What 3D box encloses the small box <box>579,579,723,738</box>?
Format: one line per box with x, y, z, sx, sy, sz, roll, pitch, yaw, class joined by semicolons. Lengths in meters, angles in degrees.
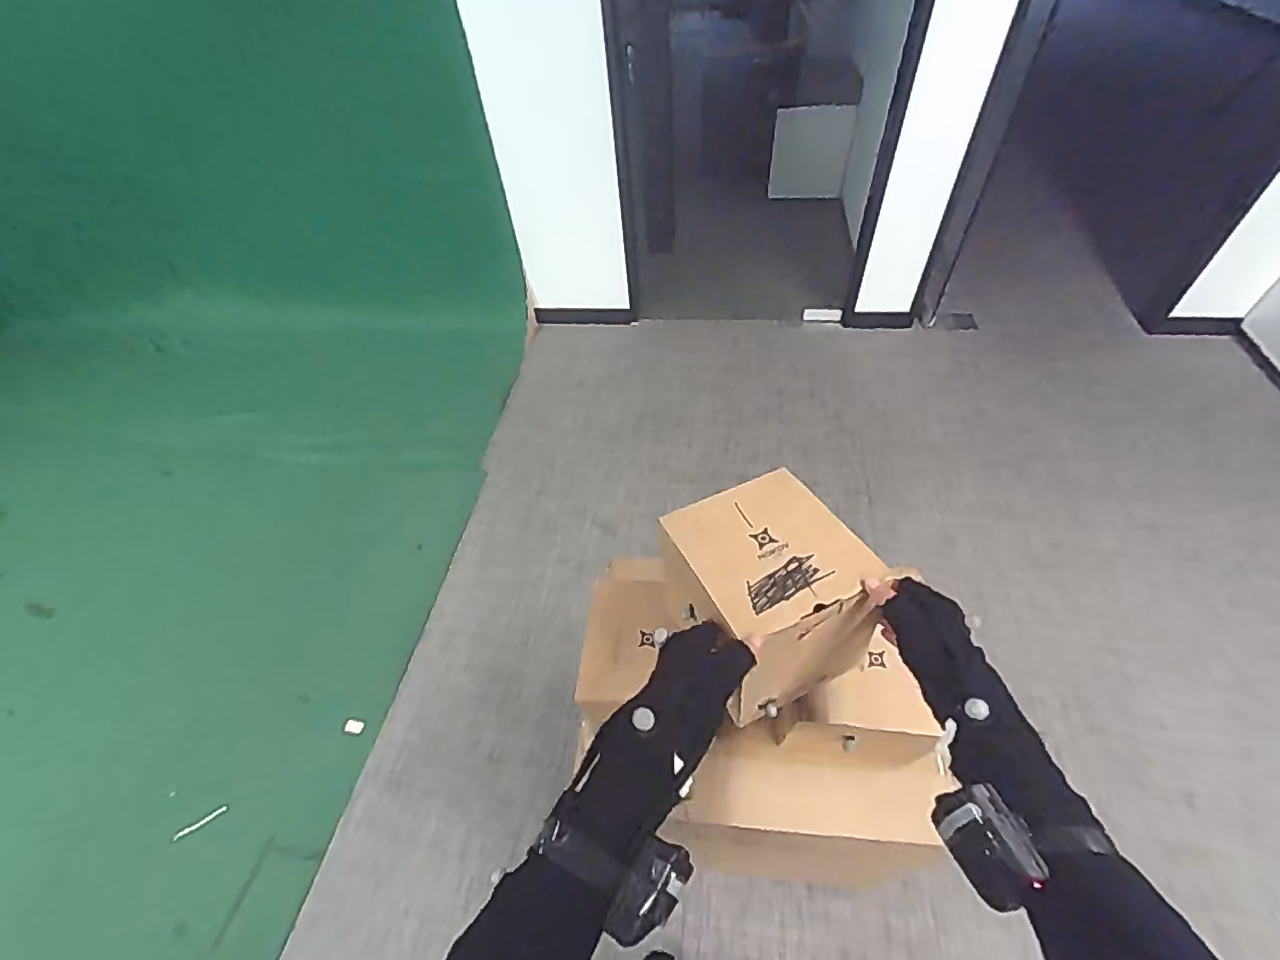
0.024;0.253;0.758;0.179;0.176;0.168;1;52;7;small box

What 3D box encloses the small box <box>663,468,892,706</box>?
0.140;0.123;0.600;0.168;0.176;0.179;-20;44;-14;small box
